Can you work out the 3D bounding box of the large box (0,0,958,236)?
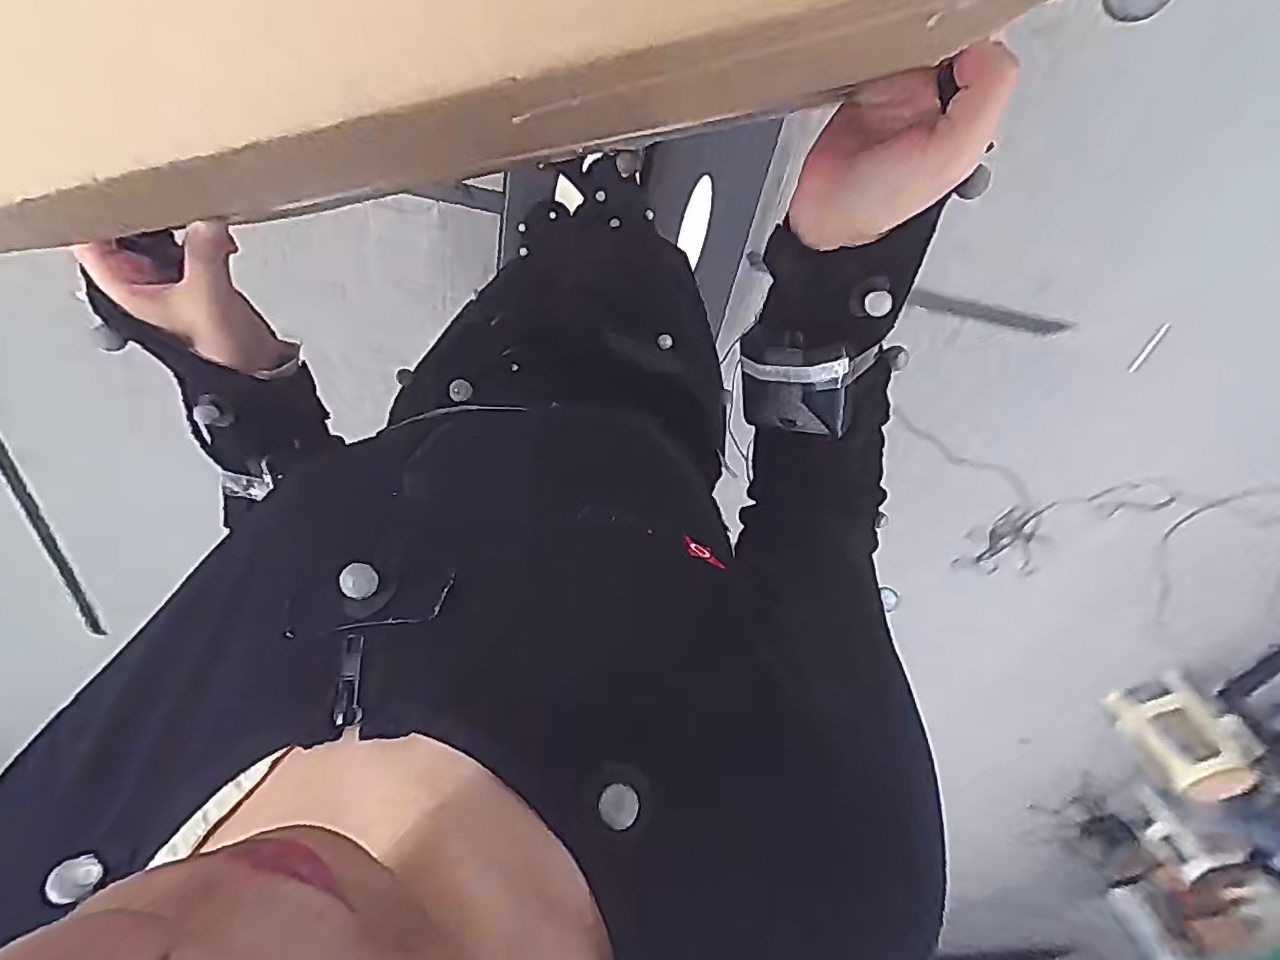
[{"bbox_3d":[-0.116,-0.295,0.189,0.408,0.320,0.320,-4,121,13],"label":"large box"}]
